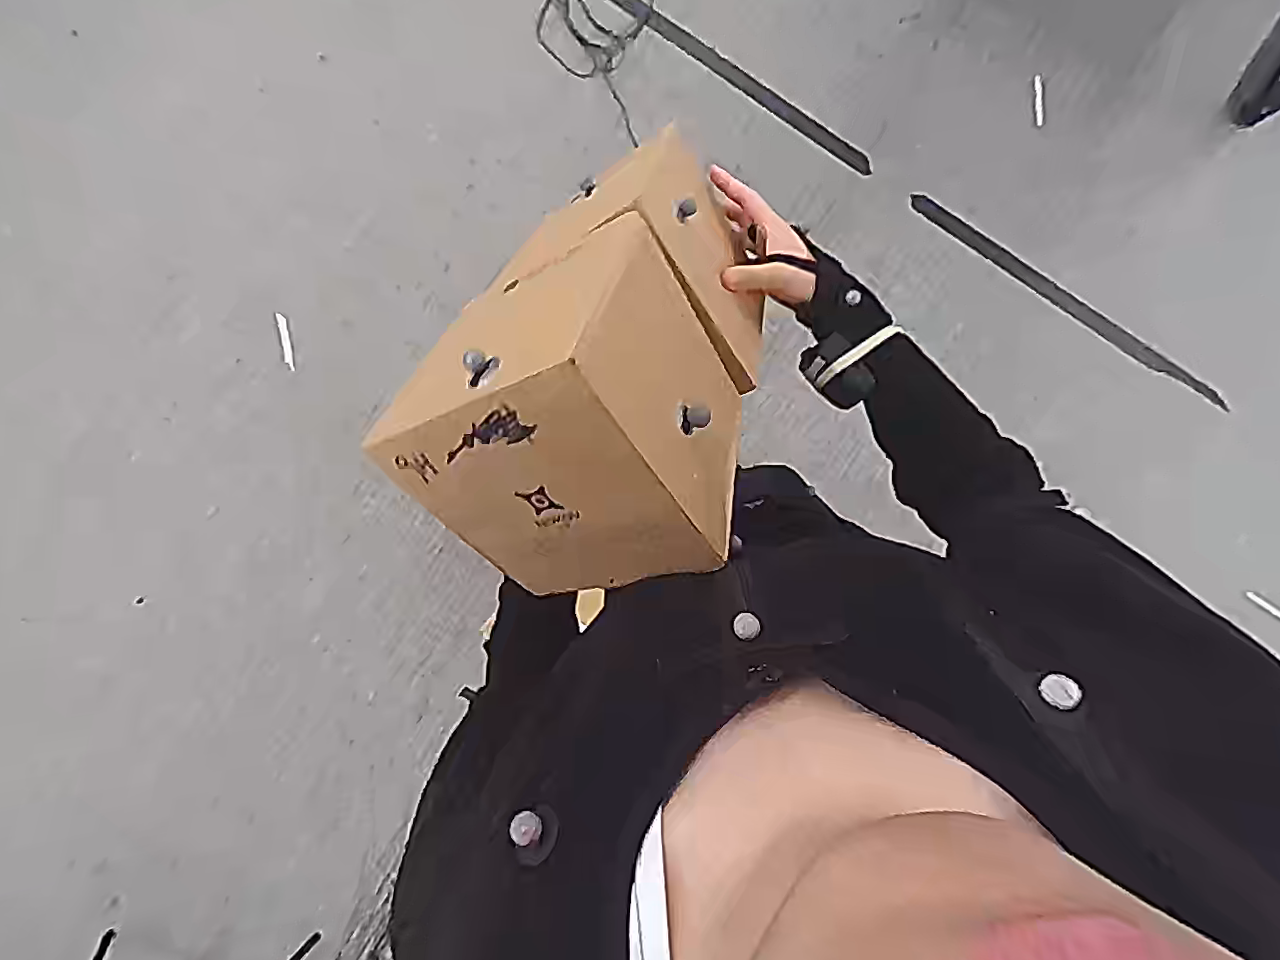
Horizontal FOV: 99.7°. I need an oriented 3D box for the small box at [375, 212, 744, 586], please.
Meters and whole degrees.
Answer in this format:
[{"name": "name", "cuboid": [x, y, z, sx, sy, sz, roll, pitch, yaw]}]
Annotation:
[{"name": "small box", "cuboid": [-0.033, -0.048, 0.385, 0.168, 0.176, 0.179, -14, 132, 29]}]
